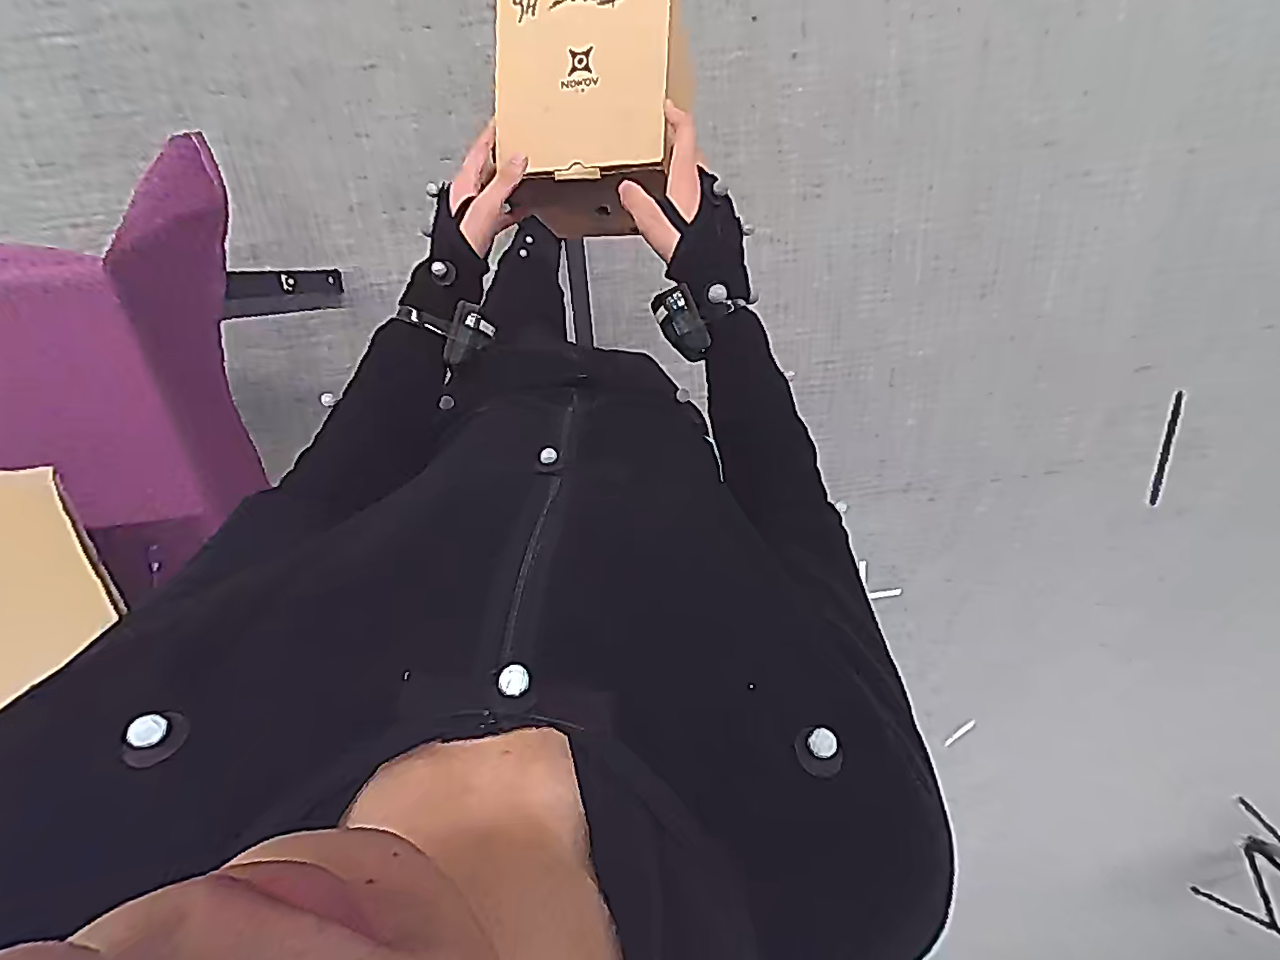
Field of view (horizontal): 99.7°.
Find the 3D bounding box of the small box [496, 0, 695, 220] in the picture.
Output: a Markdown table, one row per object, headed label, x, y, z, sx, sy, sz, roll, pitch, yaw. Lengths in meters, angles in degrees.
| label | x | y | z | sx | sy | sz | roll | pitch | yaw |
| --- | --- | --- | --- | --- | --- | --- | --- | --- | --- |
| small box | -0.036 | -0.387 | 0.569 | 0.168 | 0.176 | 0.179 | 4 | 97 | 12 |
